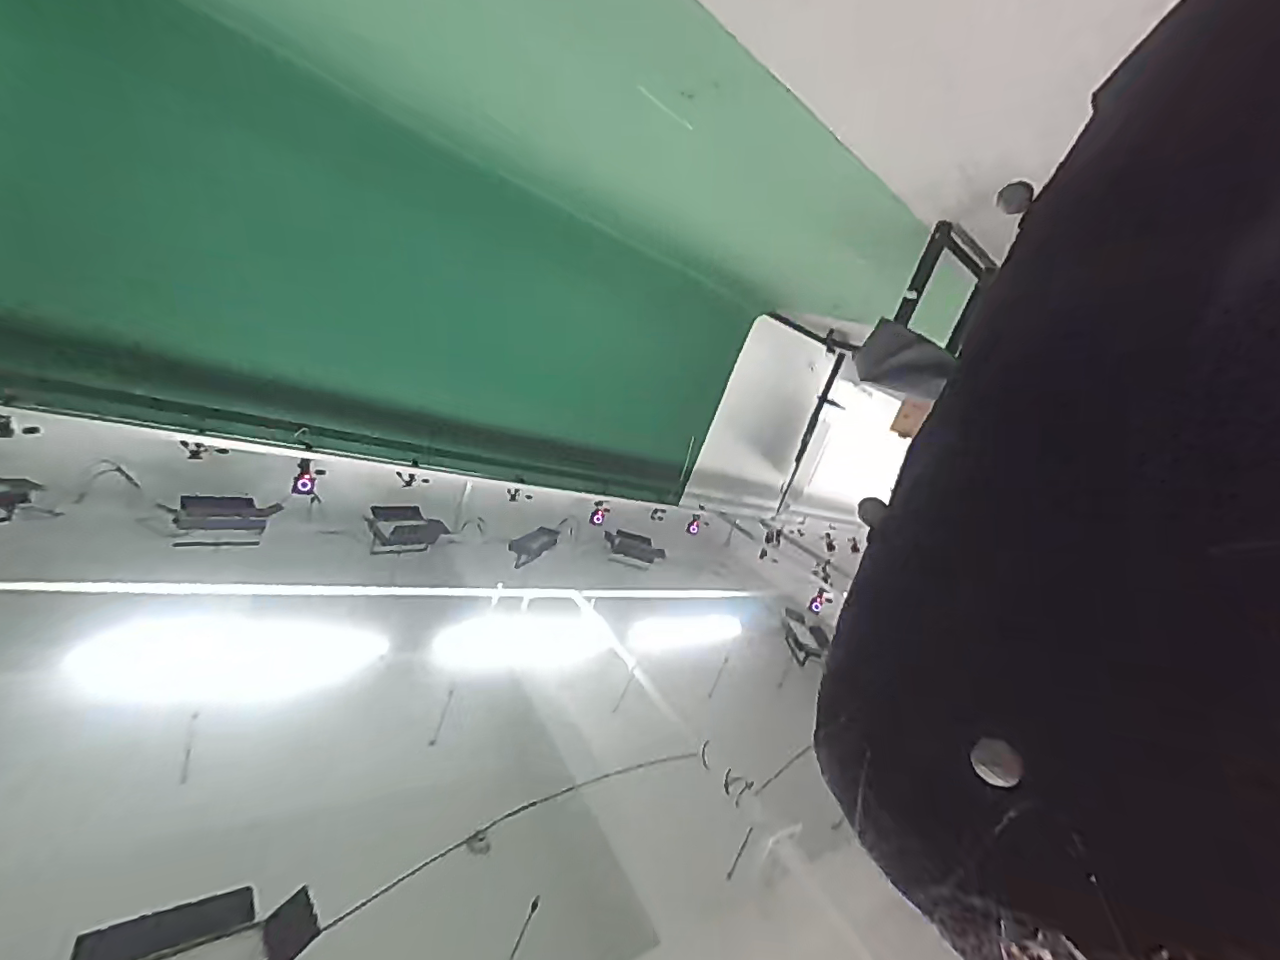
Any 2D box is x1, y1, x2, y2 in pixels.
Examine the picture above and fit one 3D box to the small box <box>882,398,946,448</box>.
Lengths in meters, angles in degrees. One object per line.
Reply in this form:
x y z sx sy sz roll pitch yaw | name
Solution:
1.235 -0.262 2.432 0.179 0.176 0.168 8 -161 -40 | small box
